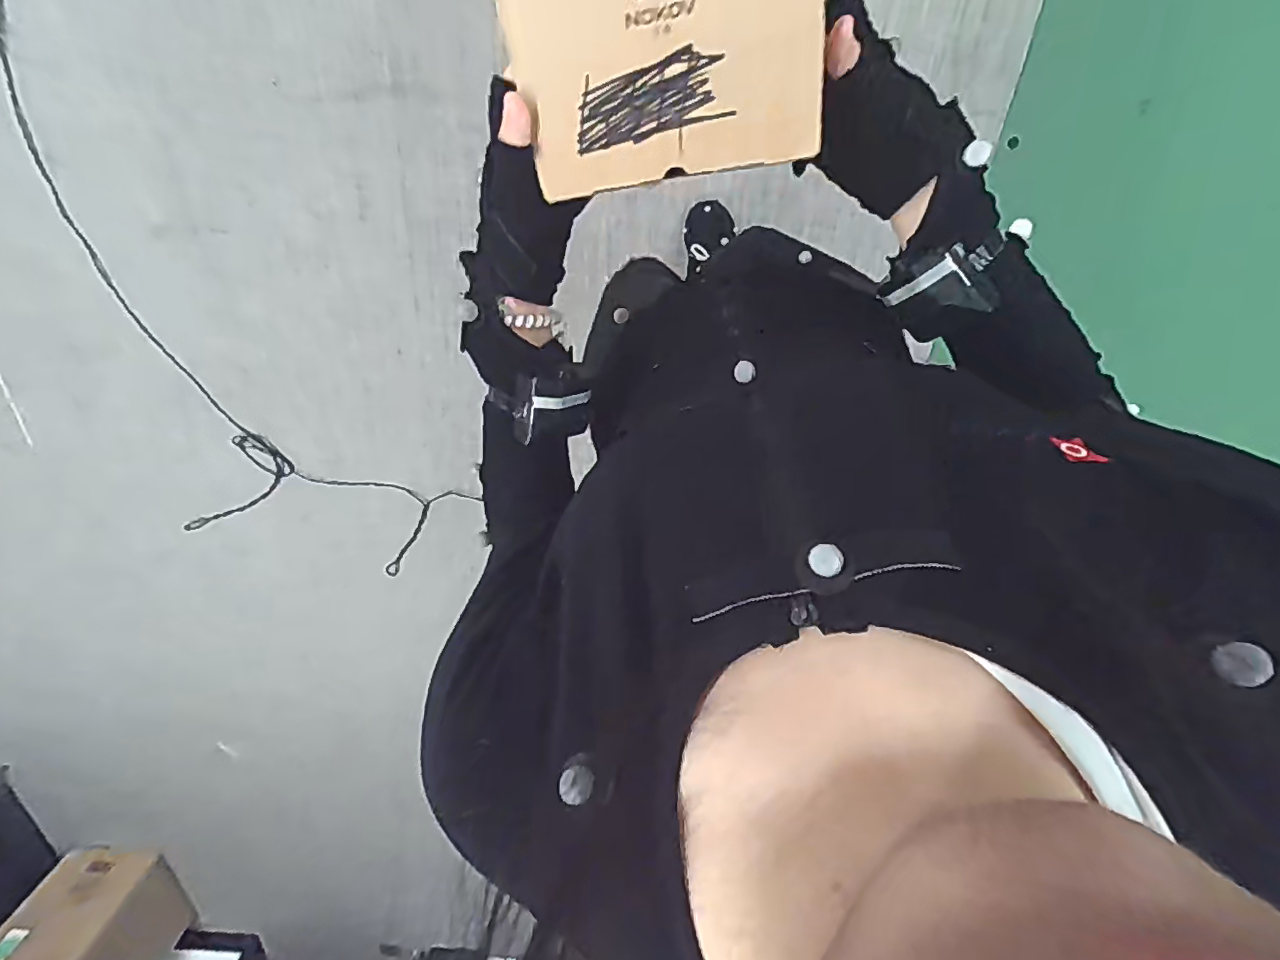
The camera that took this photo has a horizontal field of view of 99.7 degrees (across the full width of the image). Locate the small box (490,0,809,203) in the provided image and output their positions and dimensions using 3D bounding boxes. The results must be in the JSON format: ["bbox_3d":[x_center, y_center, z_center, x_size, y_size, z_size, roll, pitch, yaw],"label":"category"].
[{"bbox_3d":[0.011,-0.297,0.338,0.168,0.176,0.179,-5,127,11],"label":"small box"}]
